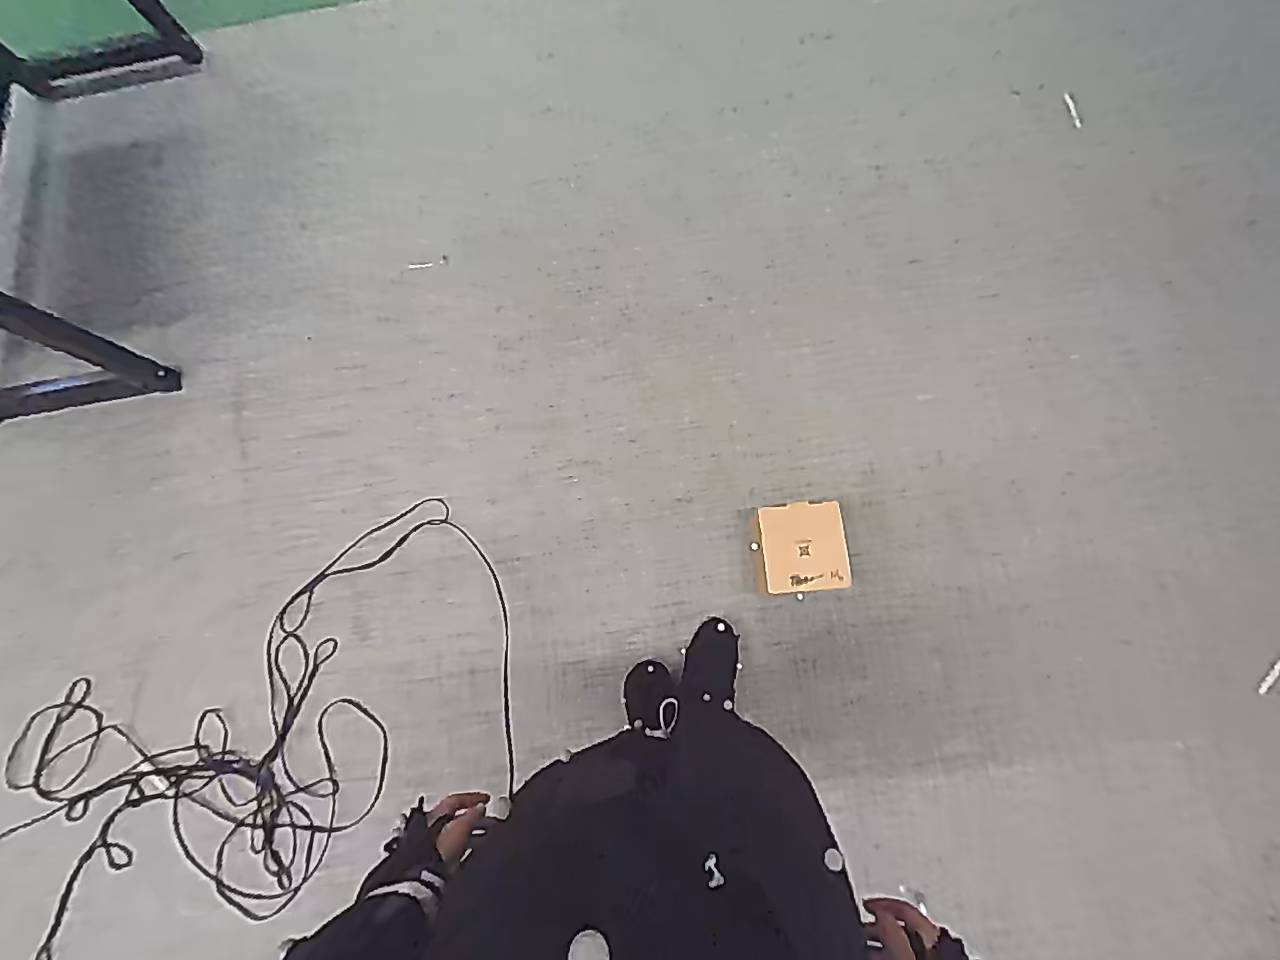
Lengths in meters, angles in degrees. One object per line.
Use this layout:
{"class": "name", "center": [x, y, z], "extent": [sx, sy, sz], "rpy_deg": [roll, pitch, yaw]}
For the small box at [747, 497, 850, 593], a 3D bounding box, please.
{"class": "small box", "center": [0.328, 0.144, 1.153], "extent": [0.168, 0.176, 0.179], "rpy_deg": [-6, 76, 3]}
